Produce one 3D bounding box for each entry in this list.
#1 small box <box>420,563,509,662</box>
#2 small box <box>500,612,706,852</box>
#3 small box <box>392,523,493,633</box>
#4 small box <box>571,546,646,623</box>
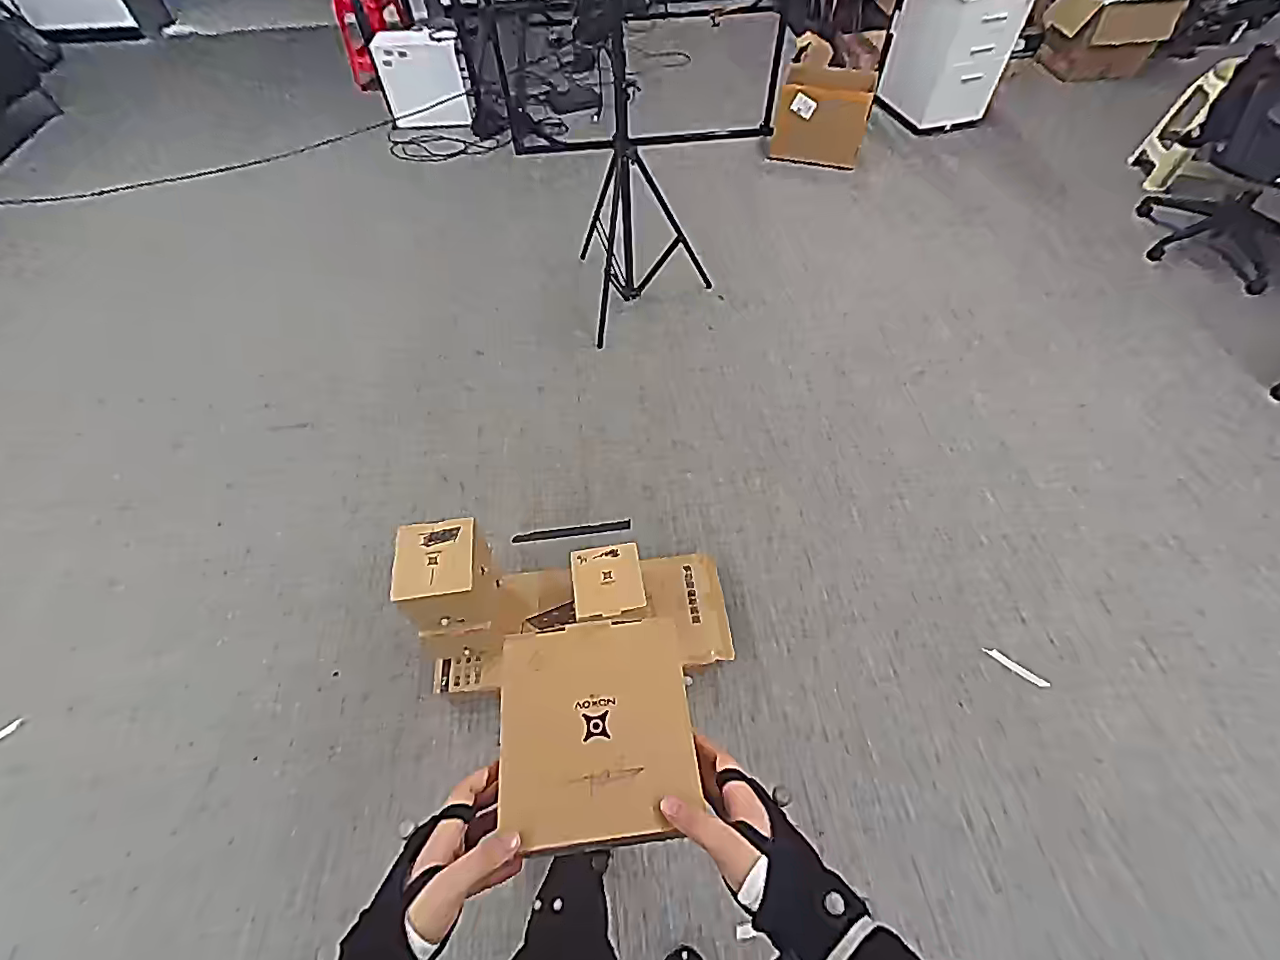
[{"bbox_3d":[-0.421,0.326,1.324,0.168,0.176,0.179,-6,55,-3],"label":"small box"},{"bbox_3d":[-0.037,0.253,0.537,0.168,0.176,0.179,-7,55,-3],"label":"small box"},{"bbox_3d":[-0.428,0.219,1.200,0.168,0.176,0.179,-8,55,-4],"label":"small box"},{"bbox_3d":[-0.074,0.289,1.346,0.168,0.176,0.179,-8,56,-2],"label":"small box"}]
